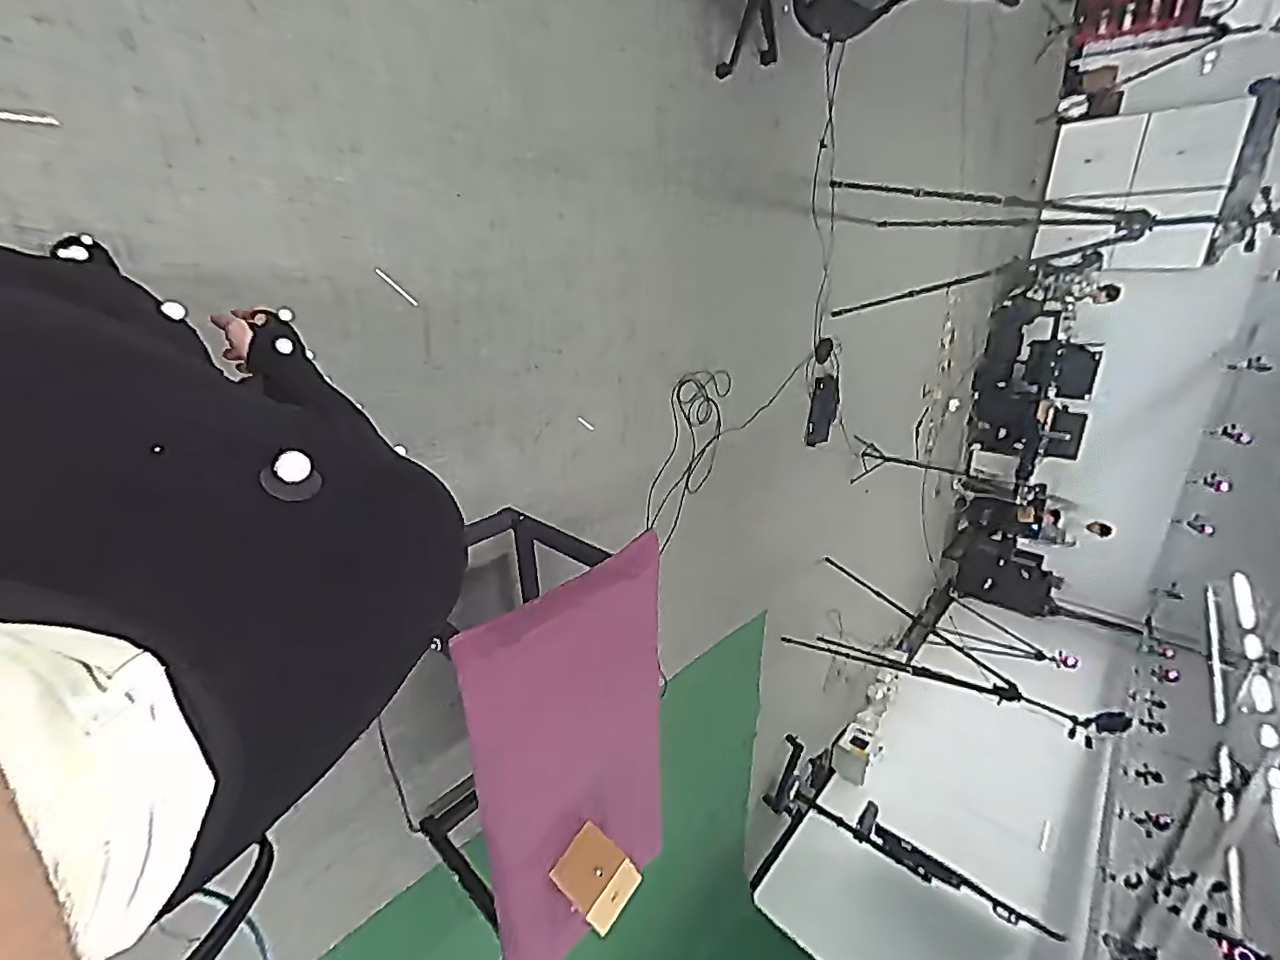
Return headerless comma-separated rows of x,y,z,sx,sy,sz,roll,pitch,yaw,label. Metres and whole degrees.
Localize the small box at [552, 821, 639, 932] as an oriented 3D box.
-0.137,1.162,1.592,0.179,0.176,0.168,-43,131,-31,small box
